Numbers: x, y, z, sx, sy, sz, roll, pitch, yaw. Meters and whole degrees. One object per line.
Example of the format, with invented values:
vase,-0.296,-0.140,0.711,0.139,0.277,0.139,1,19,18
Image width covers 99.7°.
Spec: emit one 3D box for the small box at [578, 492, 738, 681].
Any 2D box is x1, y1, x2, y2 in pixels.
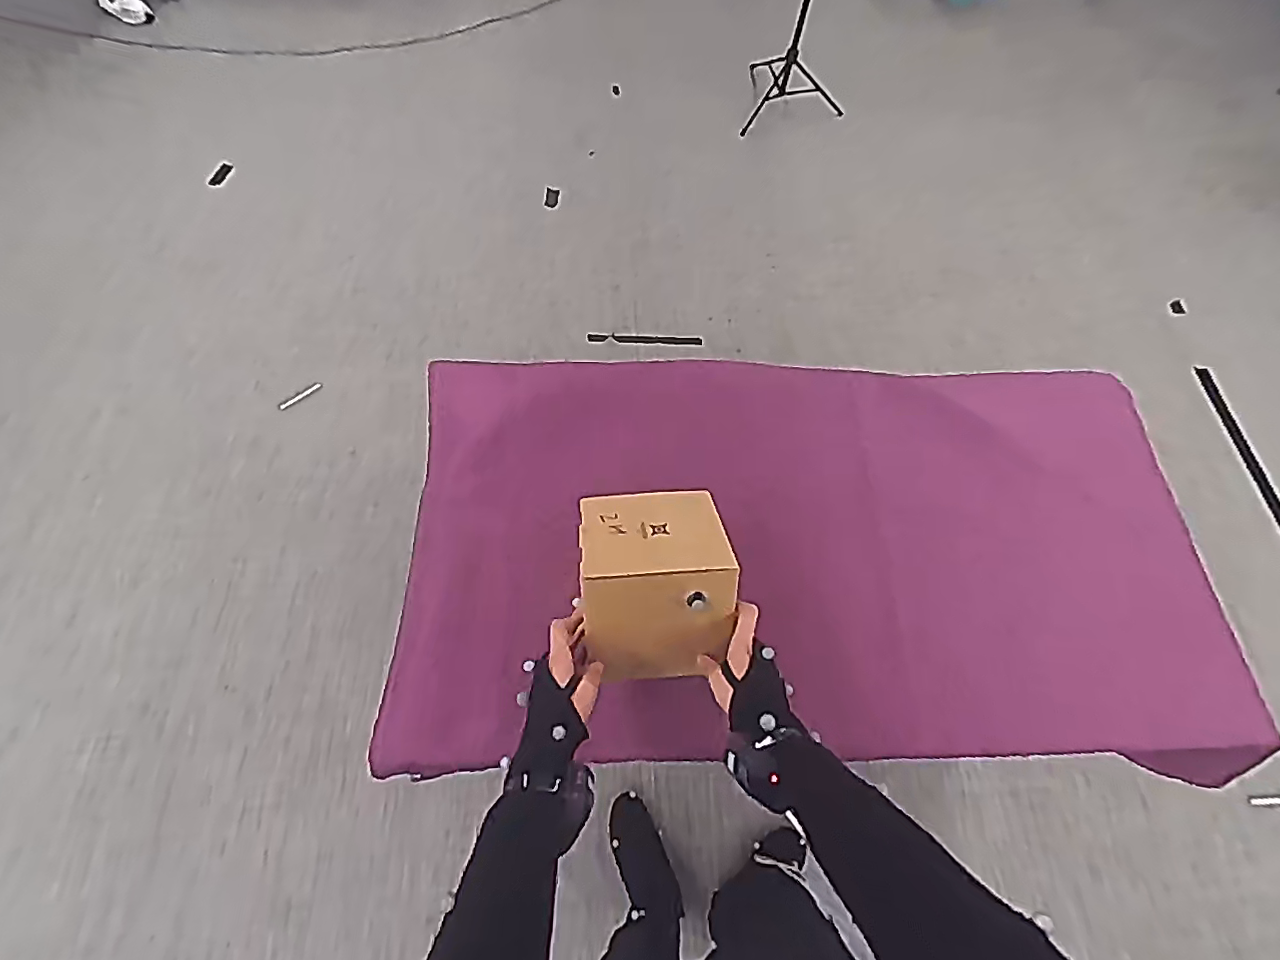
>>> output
small box,0.013,0.131,0.685,0.179,0.176,0.168,-3,31,-4
